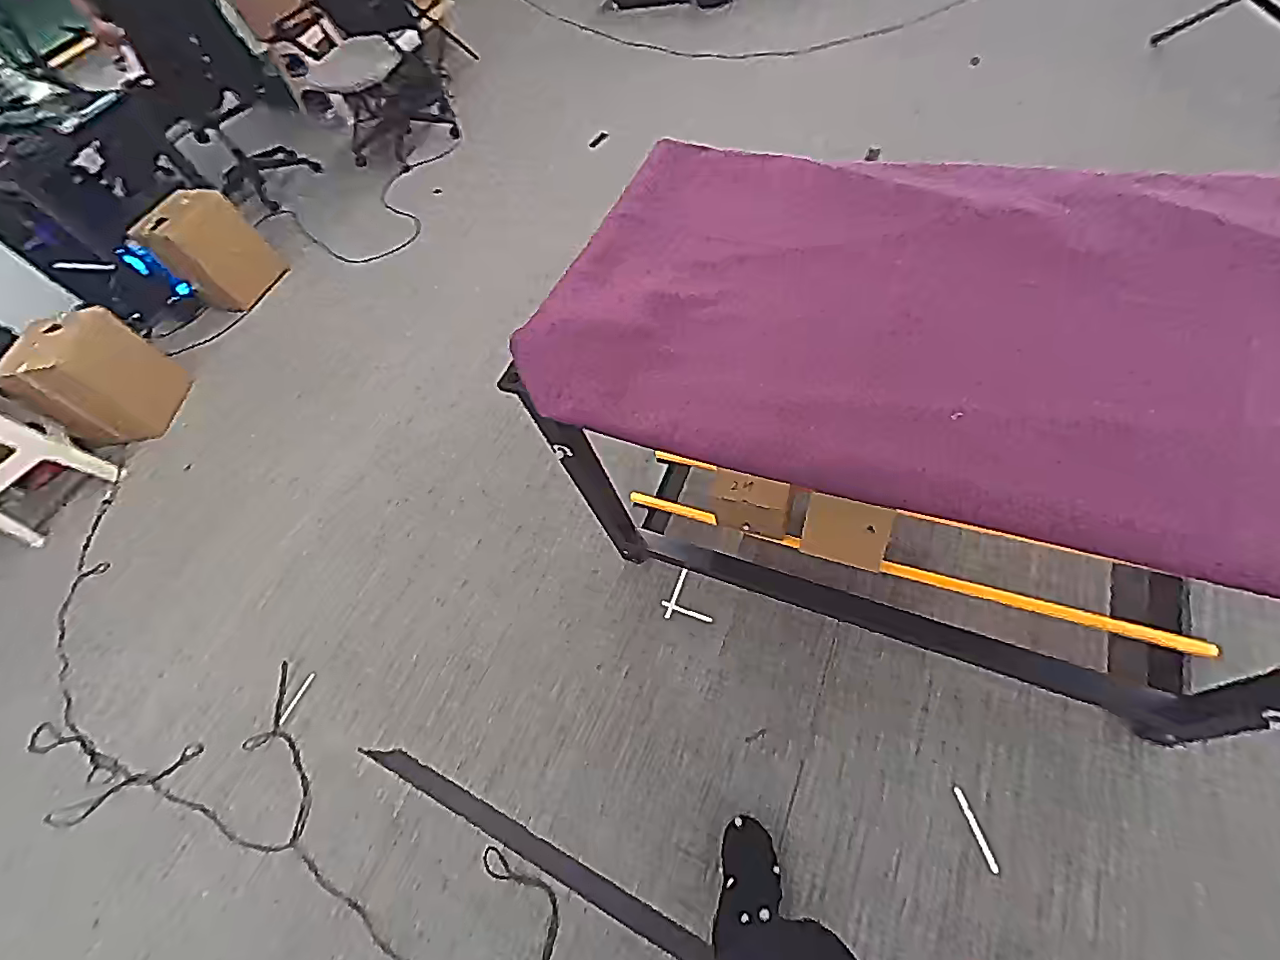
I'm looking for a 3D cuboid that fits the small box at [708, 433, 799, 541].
[{"bbox_3d":[0.271,0.018,1.272,0.168,0.176,0.179,12,65,21],"label":"small box"}]
